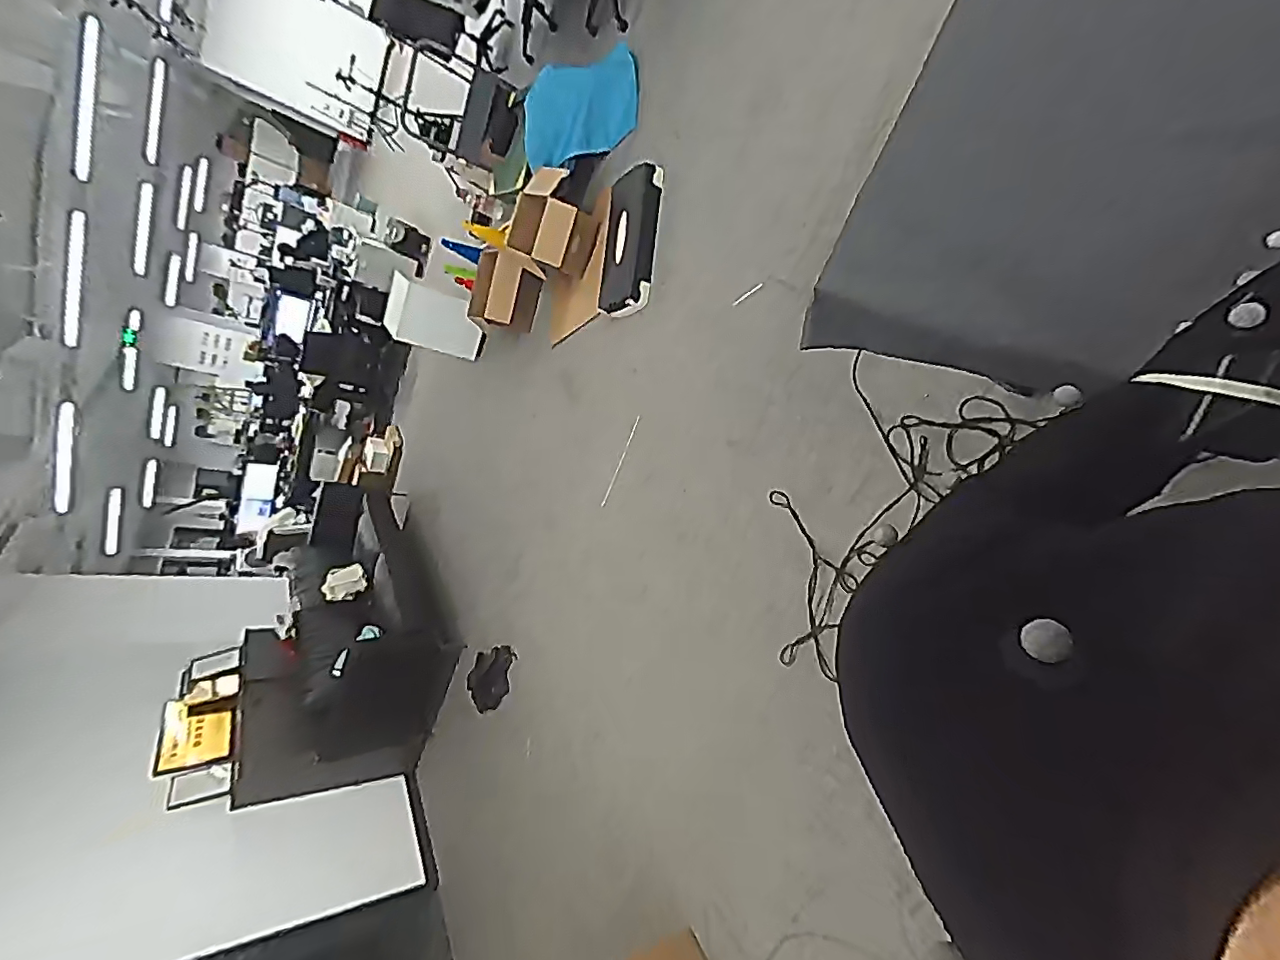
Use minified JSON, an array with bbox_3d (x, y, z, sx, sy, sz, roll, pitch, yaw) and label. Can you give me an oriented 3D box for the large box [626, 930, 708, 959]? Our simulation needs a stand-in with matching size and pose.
[{"bbox_3d":[0.097,1.696,1.611,0.408,0.320,0.320,44,116,49],"label":"large box"}]
